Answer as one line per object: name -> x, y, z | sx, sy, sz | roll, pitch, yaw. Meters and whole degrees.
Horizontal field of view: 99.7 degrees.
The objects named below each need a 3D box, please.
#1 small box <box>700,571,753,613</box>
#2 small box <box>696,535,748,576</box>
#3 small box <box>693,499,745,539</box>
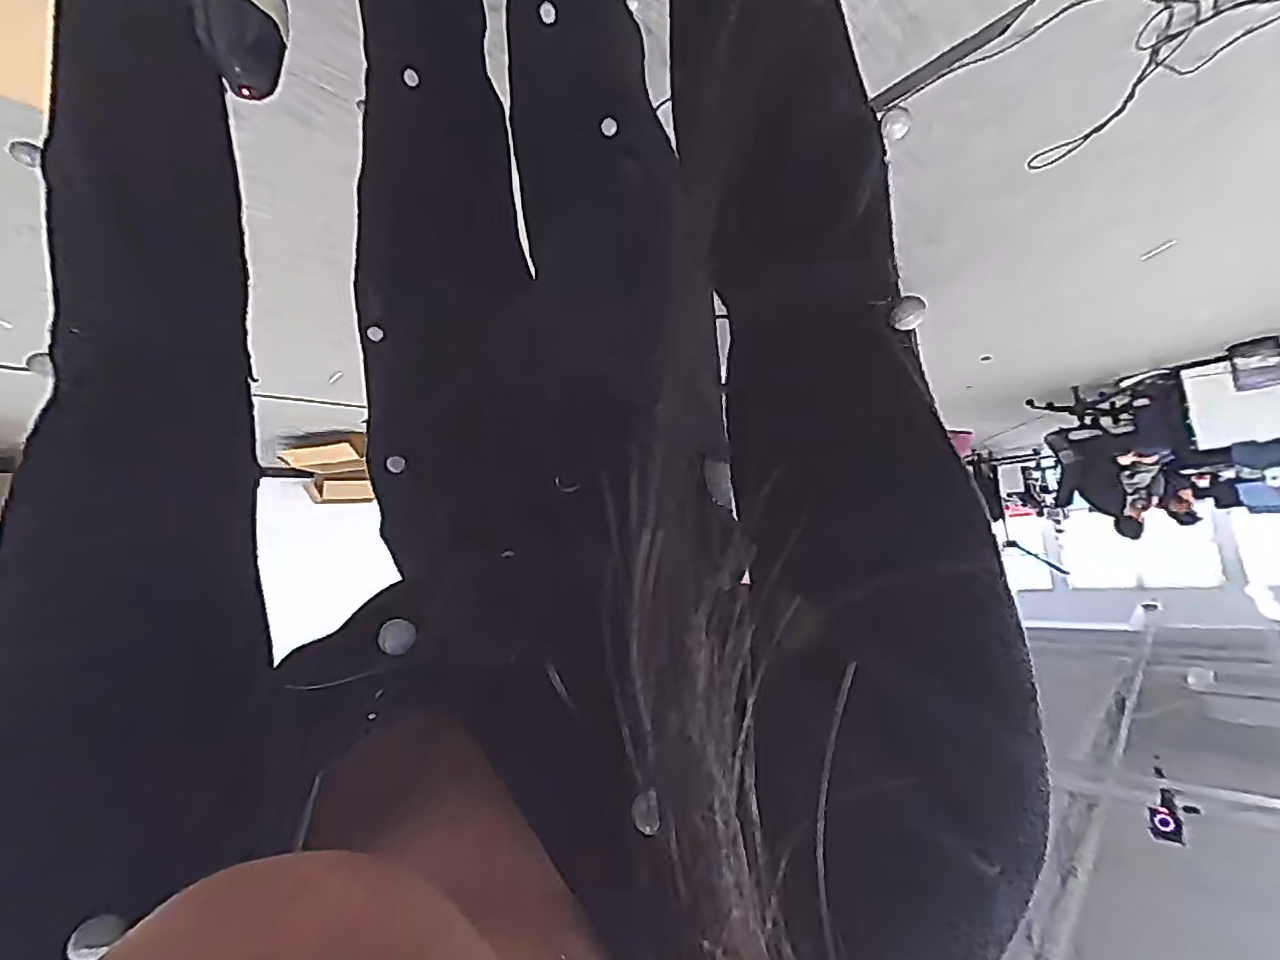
small box -> 0.387, 0.502, 2.441 | 0.168, 0.176, 0.179 | -13, 170, 39
small box -> 0.375, 0.341, 2.467 | 0.168, 0.176, 0.179 | -12, 171, 39
small box -> 0.362, 0.180, 2.491 | 0.168, 0.176, 0.179 | -13, 170, 41
